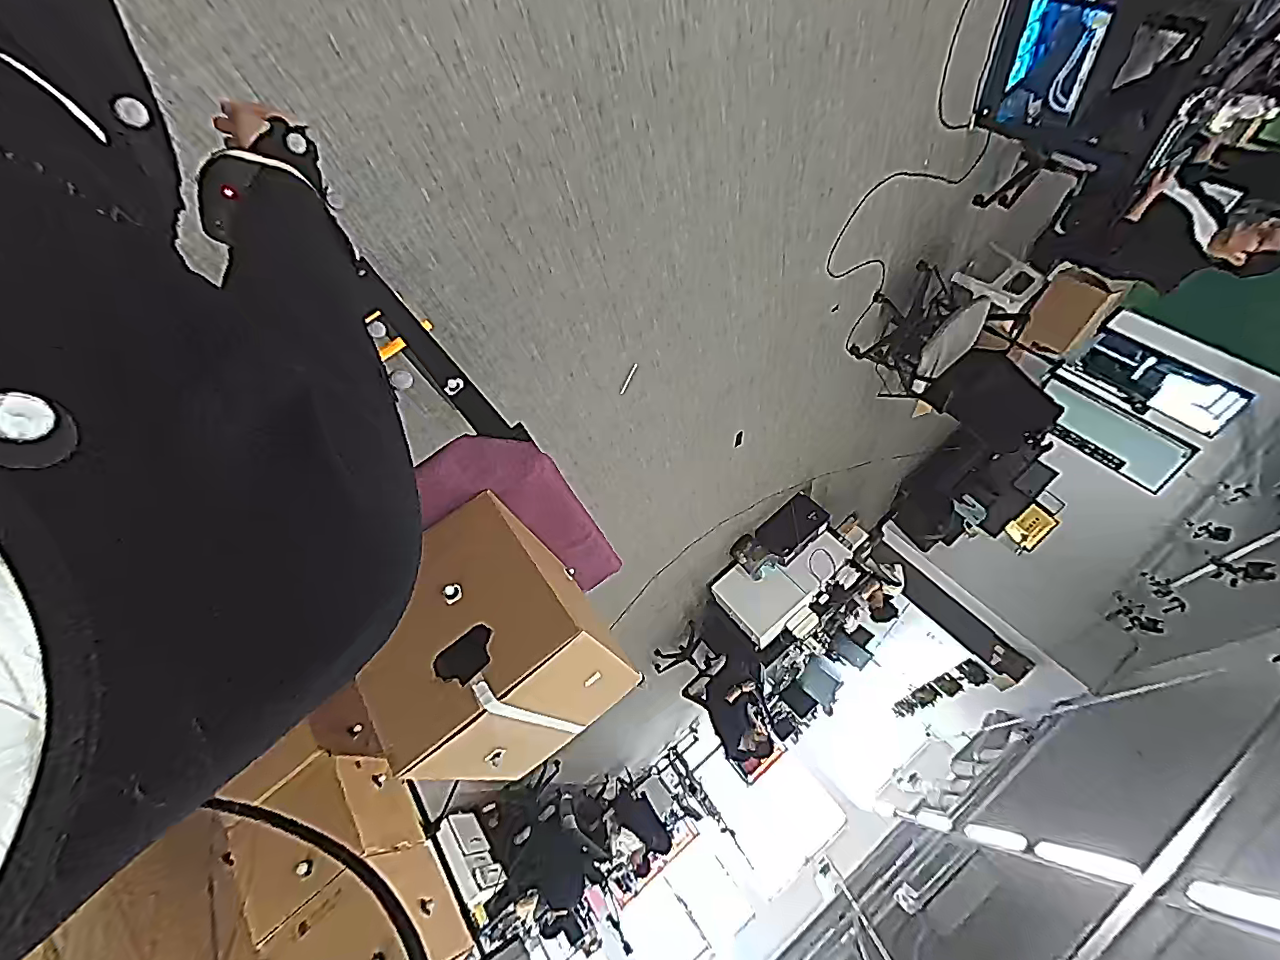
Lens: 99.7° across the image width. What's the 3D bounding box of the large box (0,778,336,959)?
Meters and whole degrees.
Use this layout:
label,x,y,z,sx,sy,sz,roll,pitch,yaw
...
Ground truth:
label,x,y,z,sx,sy,sz,roll,pitch,yaw
large box,-0.800,0.718,0.860,0.320,0.320,0.408,-38,151,-9
